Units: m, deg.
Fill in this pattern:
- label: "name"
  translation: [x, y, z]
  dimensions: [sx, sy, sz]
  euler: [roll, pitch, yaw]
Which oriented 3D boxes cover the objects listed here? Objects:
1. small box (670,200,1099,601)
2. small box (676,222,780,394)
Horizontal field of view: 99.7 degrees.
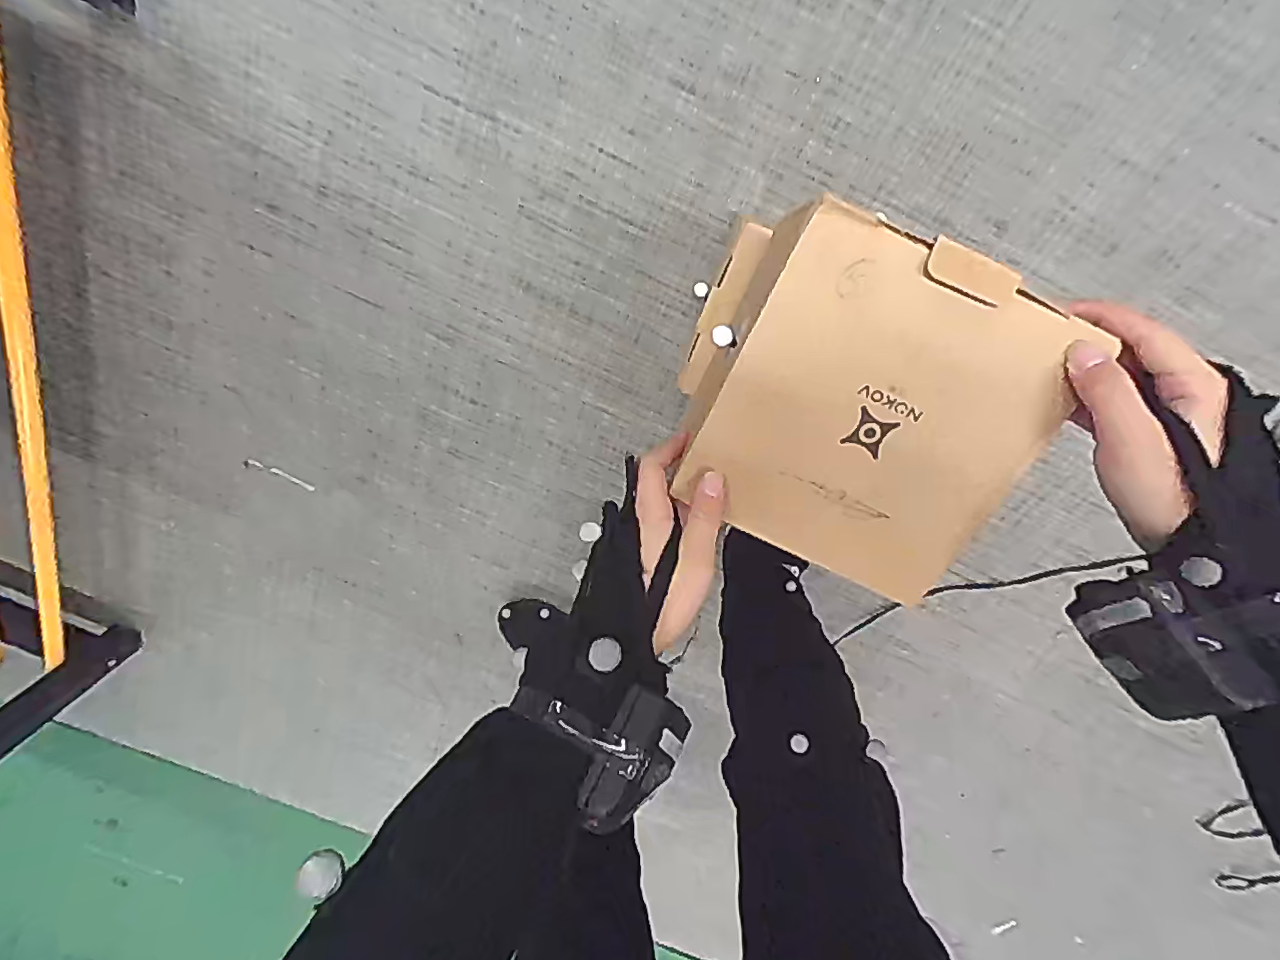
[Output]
- label: "small box"
  translation: [0.132, -0.059, 0.370]
  dimensions: [0.168, 0.176, 0.179]
  euler: [25, 112, -2]
- label: "small box"
  translation: [0.154, -0.163, 0.583]
  dimensions: [0.179, 0.176, 0.168]
  euler: [21, 119, -2]
